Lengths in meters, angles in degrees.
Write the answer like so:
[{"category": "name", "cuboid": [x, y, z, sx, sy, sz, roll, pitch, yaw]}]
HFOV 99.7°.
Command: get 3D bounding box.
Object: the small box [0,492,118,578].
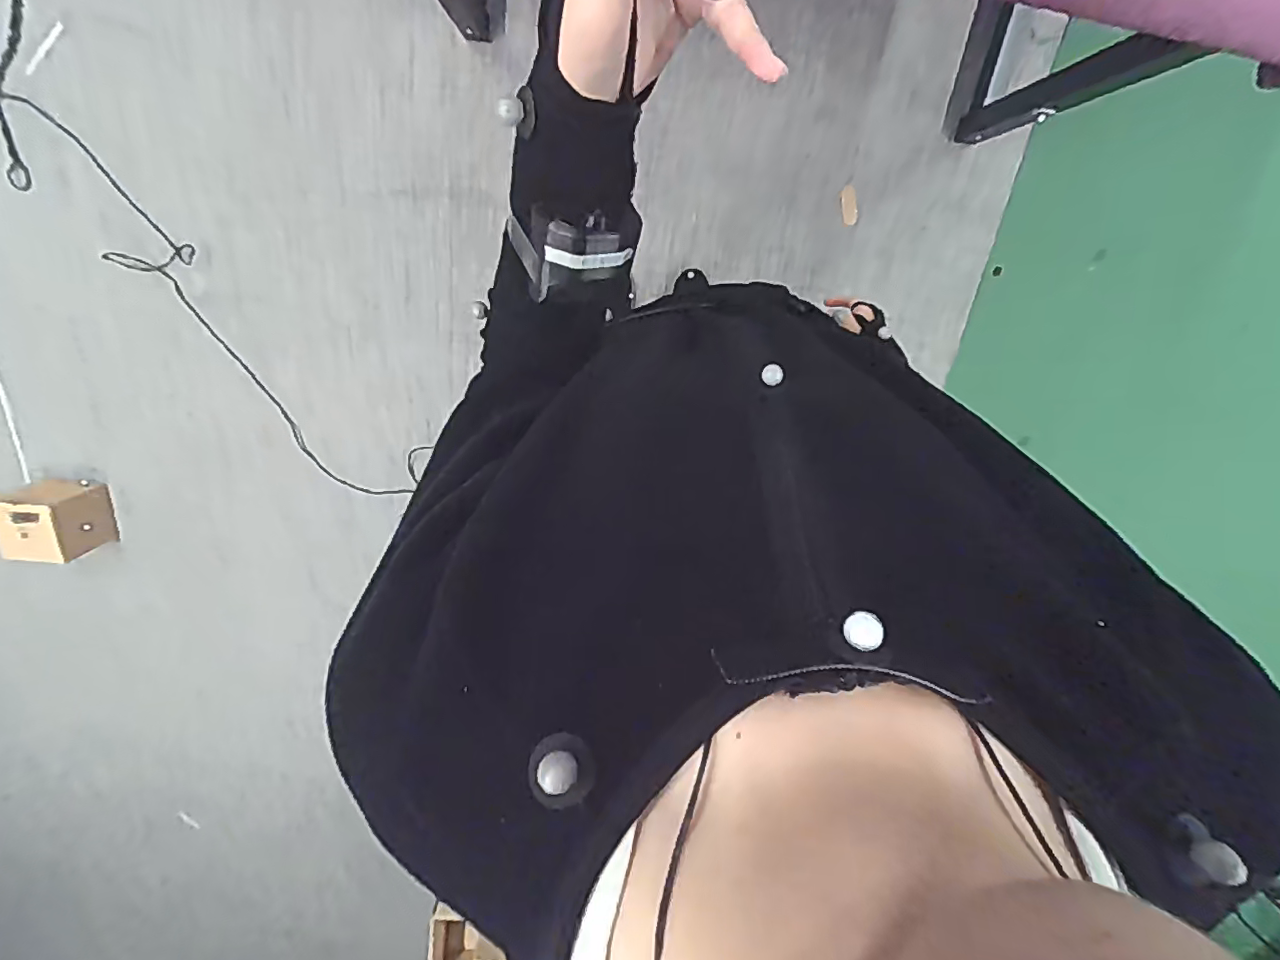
[{"category": "small box", "cuboid": [-1.601, 0.146, 1.482, 0.168, 0.176, 0.179, 6, 111, -3]}]
